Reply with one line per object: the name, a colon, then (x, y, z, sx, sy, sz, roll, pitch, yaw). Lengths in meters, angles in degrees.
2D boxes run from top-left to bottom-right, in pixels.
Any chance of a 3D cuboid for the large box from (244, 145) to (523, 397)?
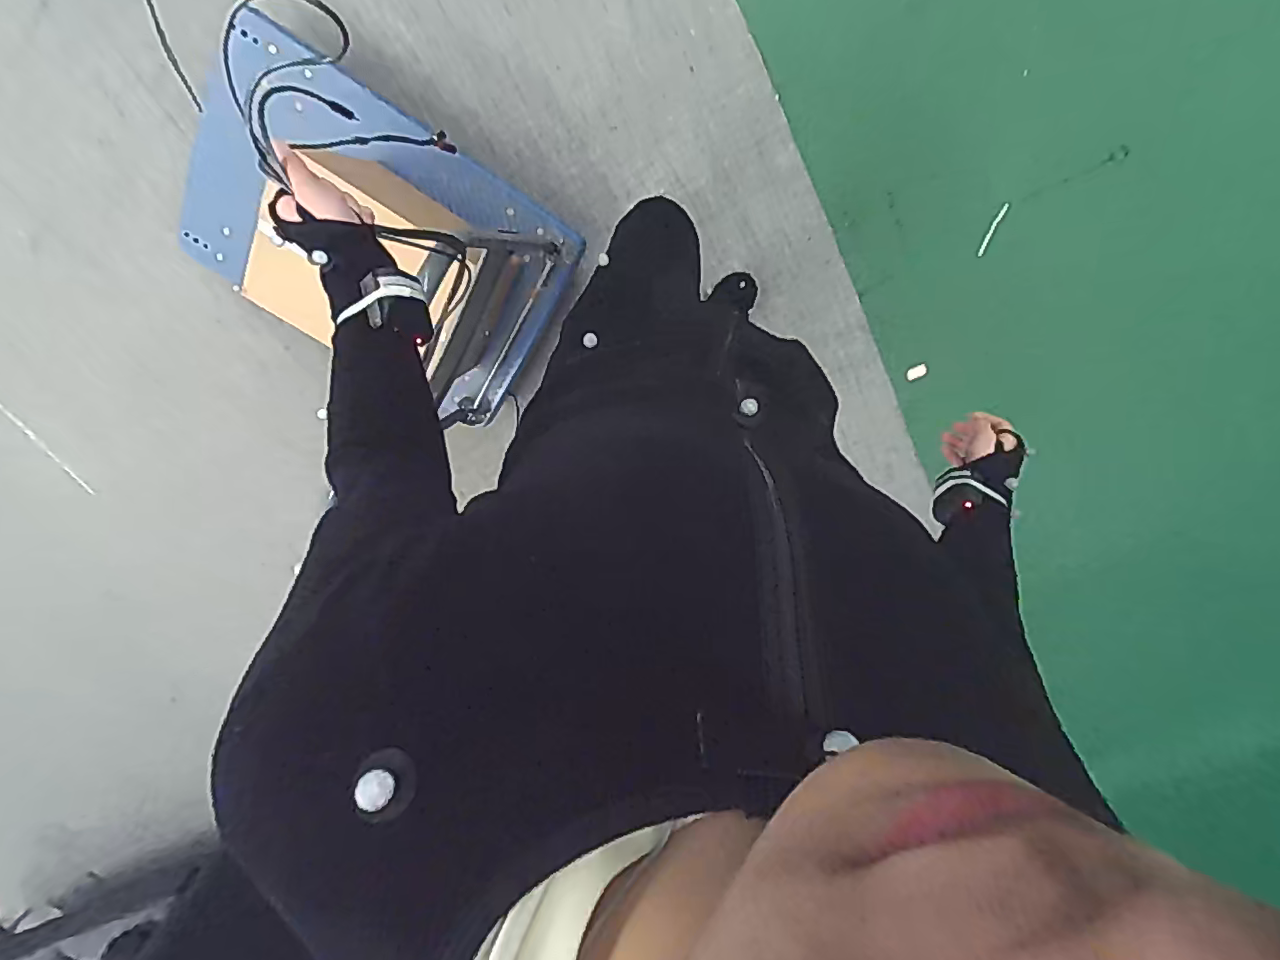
large box: (-0.533, -0.446, 1.182, 0.408, 0.320, 0.320, 32, 113, -8)
